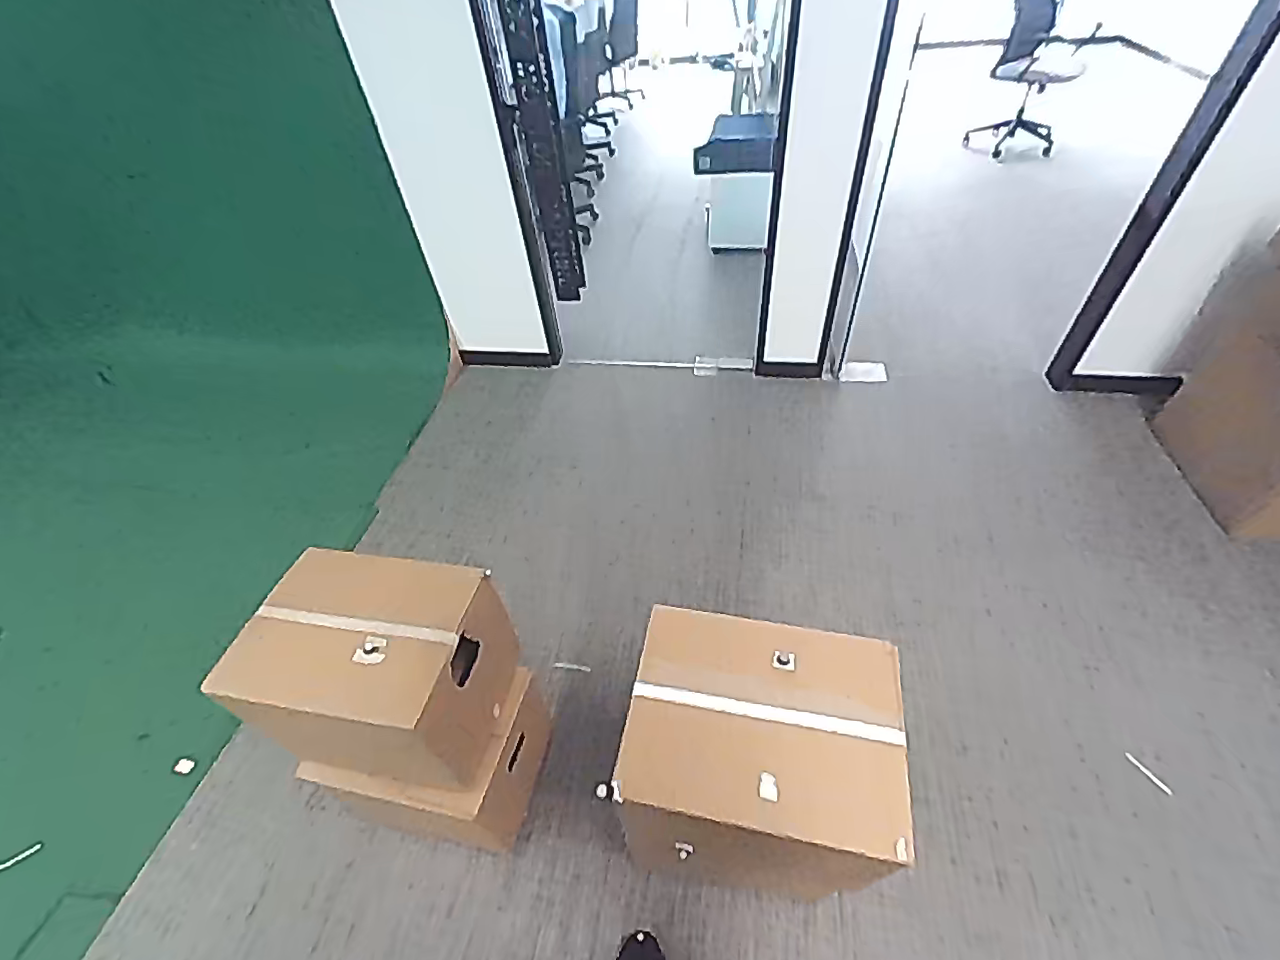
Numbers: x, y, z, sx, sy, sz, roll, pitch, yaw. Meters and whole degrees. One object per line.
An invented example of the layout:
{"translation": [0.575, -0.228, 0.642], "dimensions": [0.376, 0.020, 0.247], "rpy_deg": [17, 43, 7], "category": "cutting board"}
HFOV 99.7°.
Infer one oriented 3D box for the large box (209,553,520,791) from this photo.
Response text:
{"translation": [-0.505, 0.380, 1.088], "dimensions": [0.408, 0.320, 0.320], "rpy_deg": [6, 44, 10], "category": "large box"}
